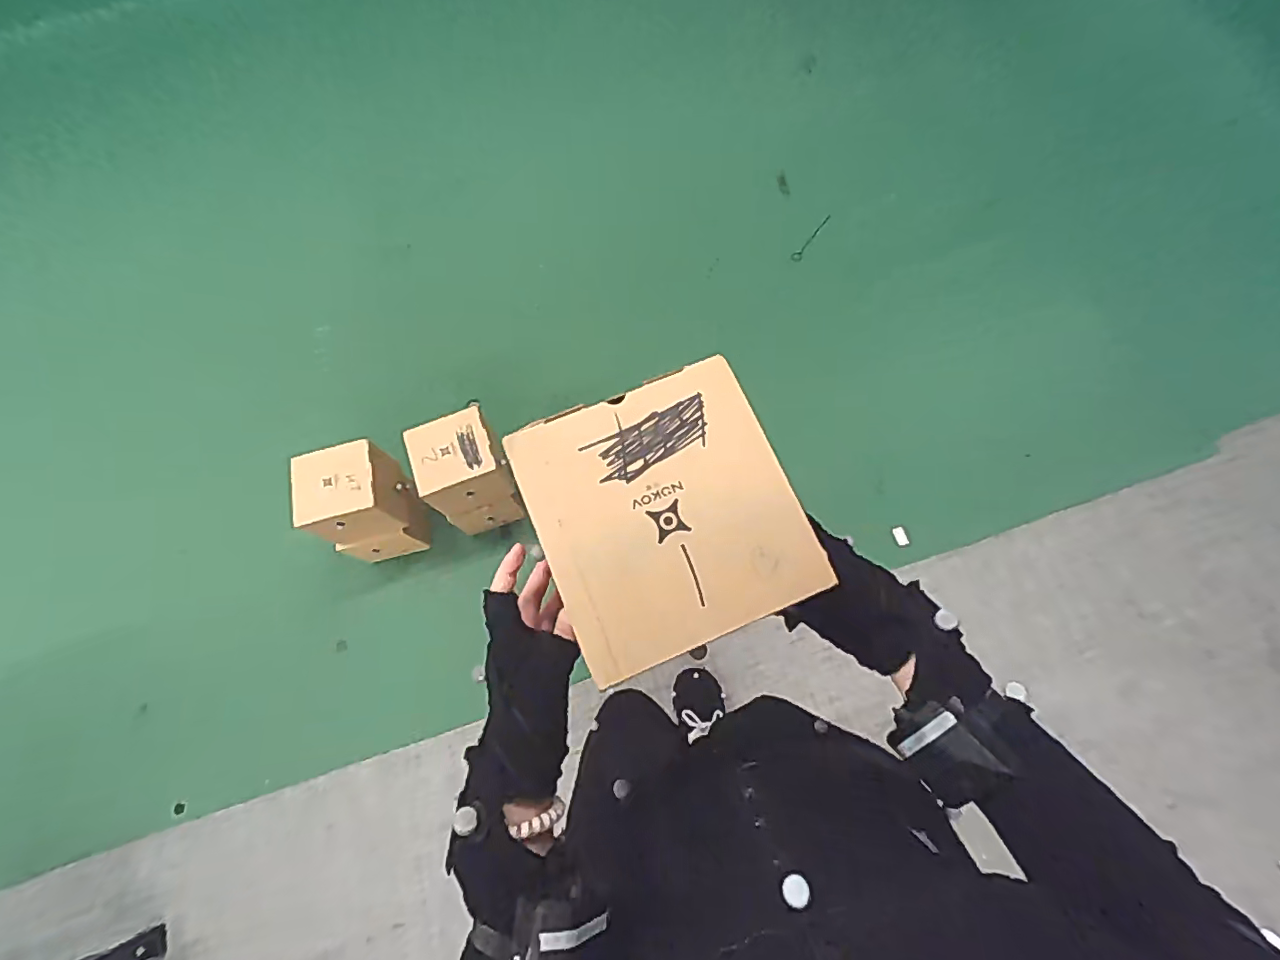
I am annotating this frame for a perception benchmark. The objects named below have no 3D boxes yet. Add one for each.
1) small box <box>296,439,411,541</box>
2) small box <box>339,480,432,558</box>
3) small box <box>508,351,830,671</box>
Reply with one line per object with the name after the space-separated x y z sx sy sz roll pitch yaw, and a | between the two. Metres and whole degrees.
-0.656 0.030 1.248 0.179 0.176 0.168 -14 70 -2 | small box
-0.654 0.097 1.400 0.168 0.176 0.179 -14 70 -2 | small box
0.013 0.033 0.430 0.168 0.176 0.179 -22 76 -6 | small box
